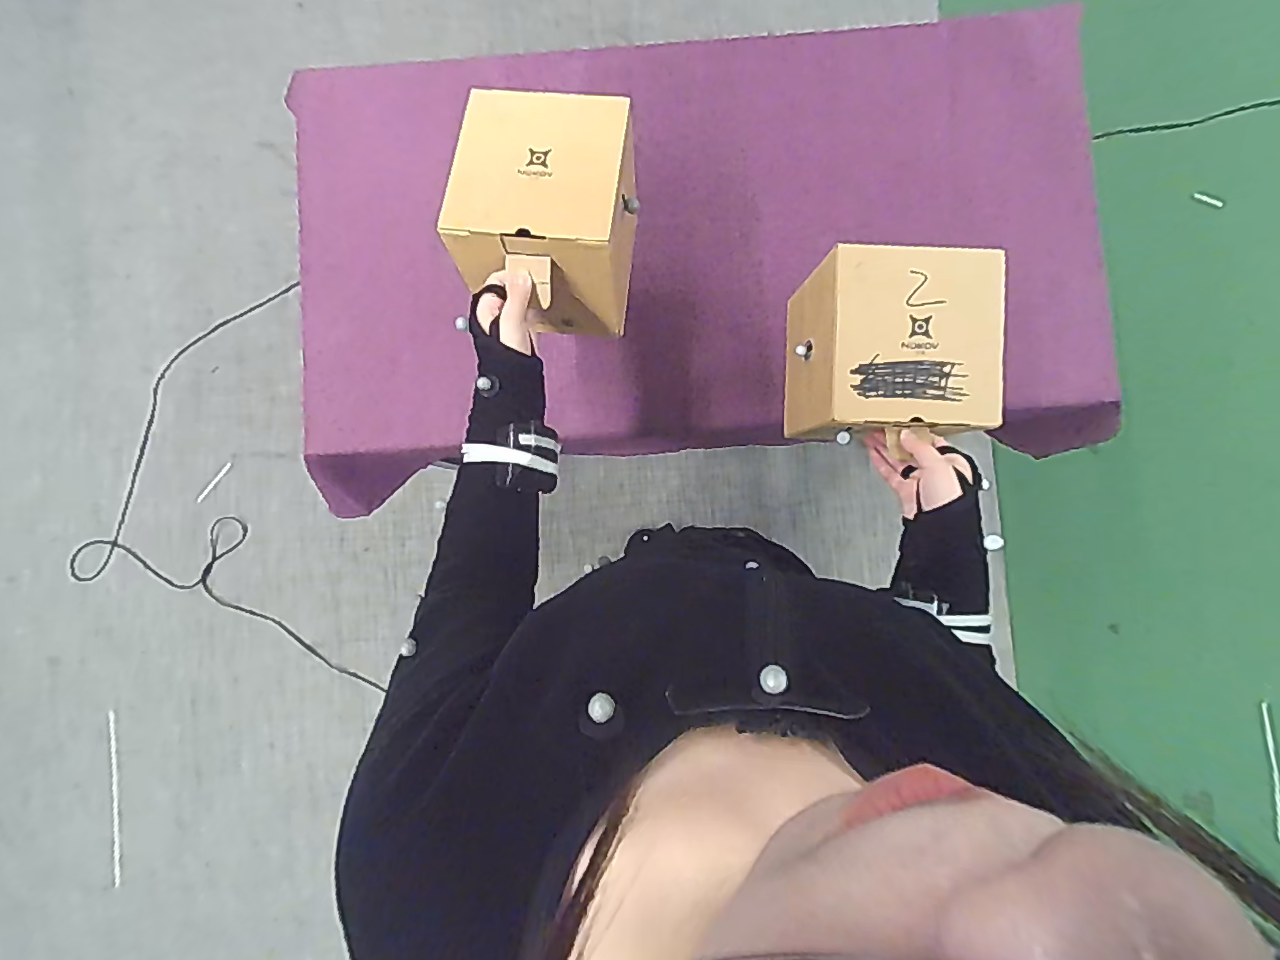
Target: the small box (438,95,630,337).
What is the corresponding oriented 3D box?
[{"bbox_3d":[-0.103,-0.287,0.612,0.168,0.176,0.179,5,75,3],"label":"small box"}]
